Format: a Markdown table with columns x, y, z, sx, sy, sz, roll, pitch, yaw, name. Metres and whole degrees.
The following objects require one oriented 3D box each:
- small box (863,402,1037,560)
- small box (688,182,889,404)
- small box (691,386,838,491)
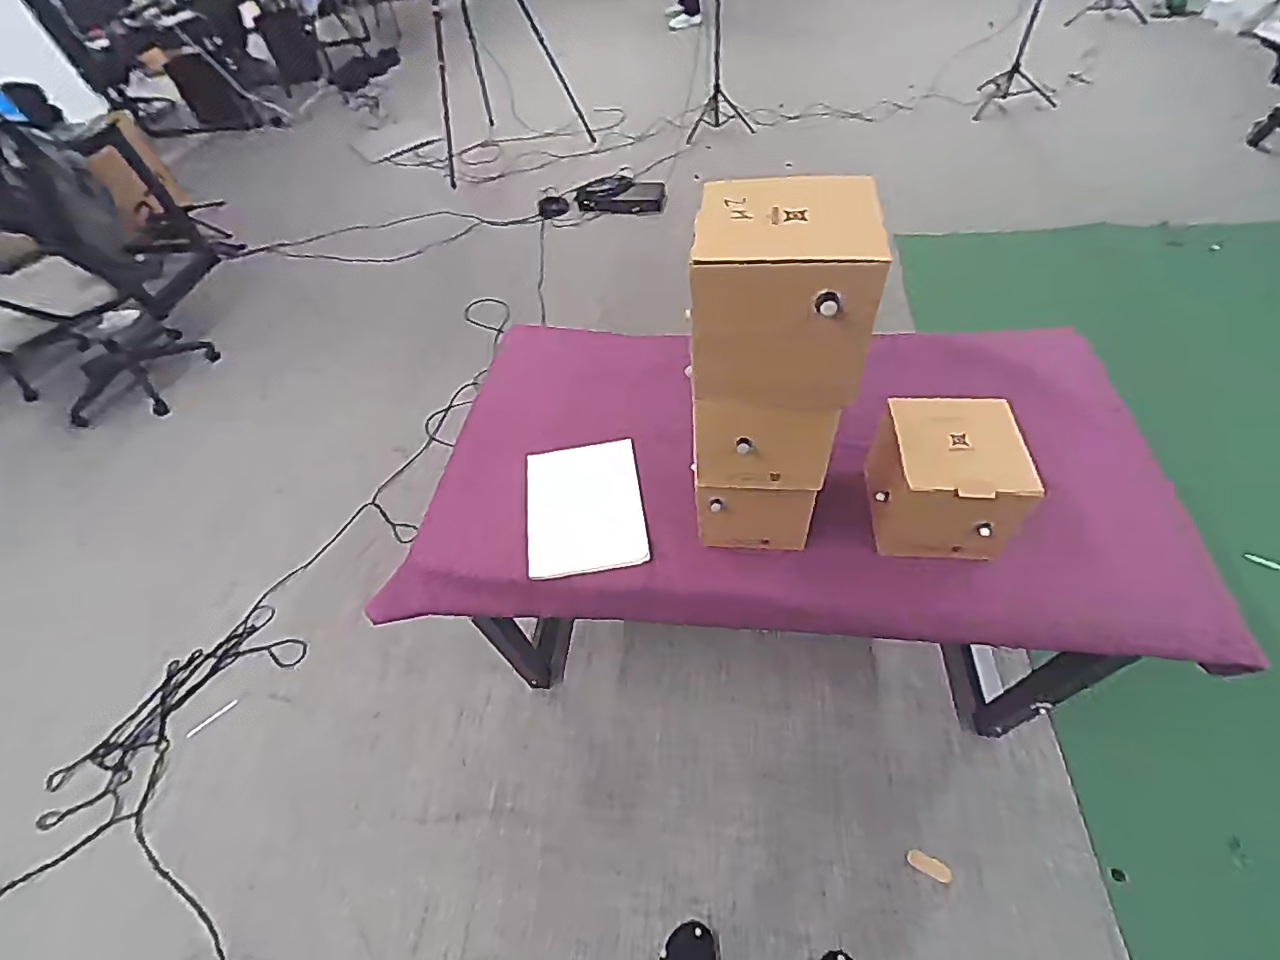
| x | y | z | sx | sy | sz | roll | pitch | yaw | name |
| --- | --- | --- | --- | --- | --- | --- | --- | --- | --- |
| 0.444 | 0.003 | 0.809 | 0.168 | 0.176 | 0.179 | 3 | 51 | 9 | small box |
| 0.150 | -0.198 | 0.585 | 0.179 | 0.176 | 0.168 | 4 | 51 | 11 | small box |
| 0.159 | -0.101 | 0.719 | 0.168 | 0.176 | 0.179 | 2 | 51 | 9 | small box |
